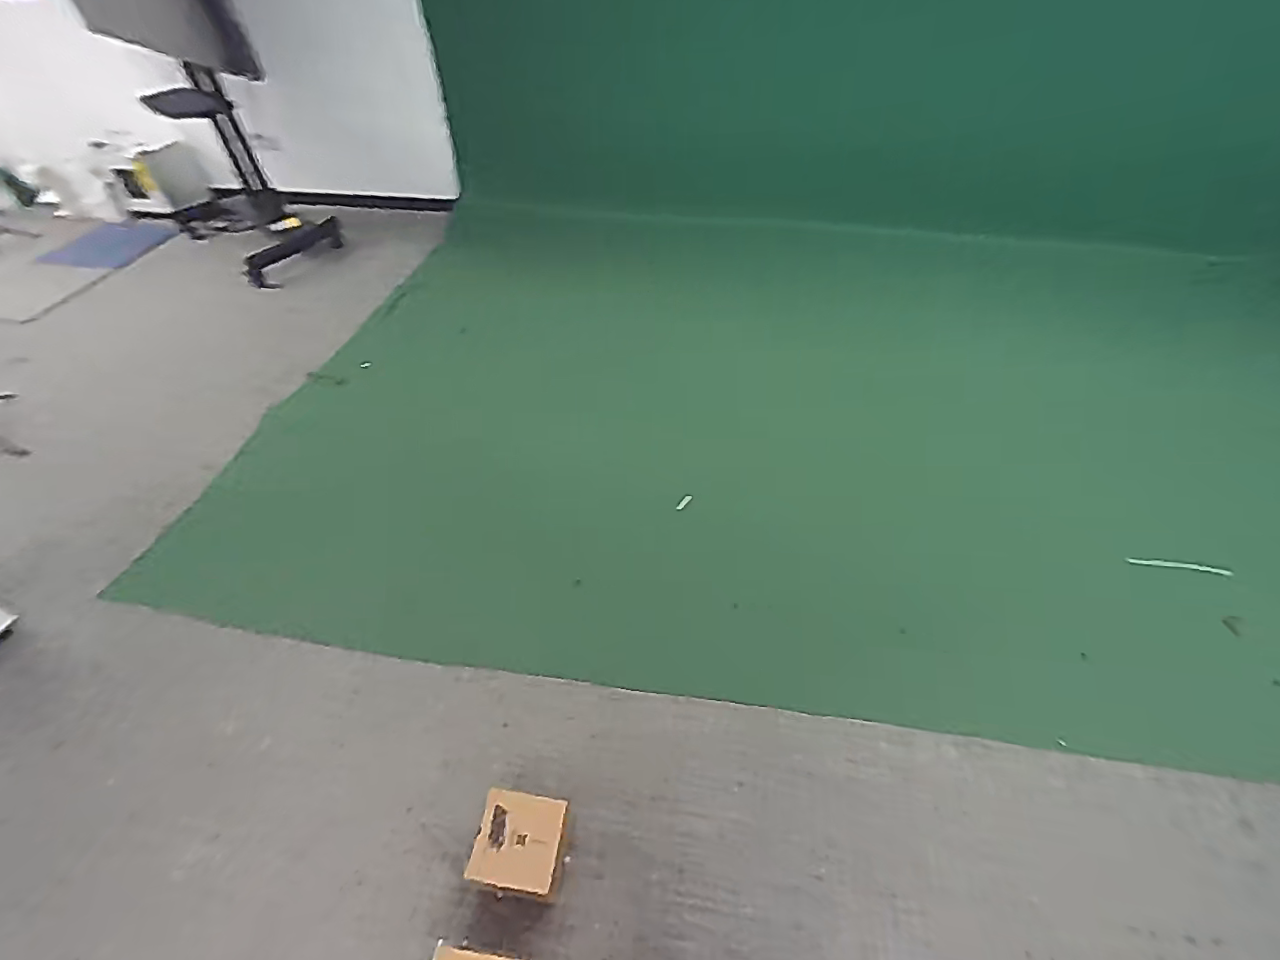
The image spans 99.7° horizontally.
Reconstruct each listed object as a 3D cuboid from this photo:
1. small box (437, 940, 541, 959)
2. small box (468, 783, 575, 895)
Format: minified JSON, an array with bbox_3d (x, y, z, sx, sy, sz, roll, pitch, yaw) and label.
[{"bbox_3d":[-0.291,0.974,1.000,0.179,0.176,0.168,5,47,5],"label":"small box"},{"bbox_3d":[-0.247,0.783,1.176,0.179,0.176,0.168,6,47,4],"label":"small box"}]
